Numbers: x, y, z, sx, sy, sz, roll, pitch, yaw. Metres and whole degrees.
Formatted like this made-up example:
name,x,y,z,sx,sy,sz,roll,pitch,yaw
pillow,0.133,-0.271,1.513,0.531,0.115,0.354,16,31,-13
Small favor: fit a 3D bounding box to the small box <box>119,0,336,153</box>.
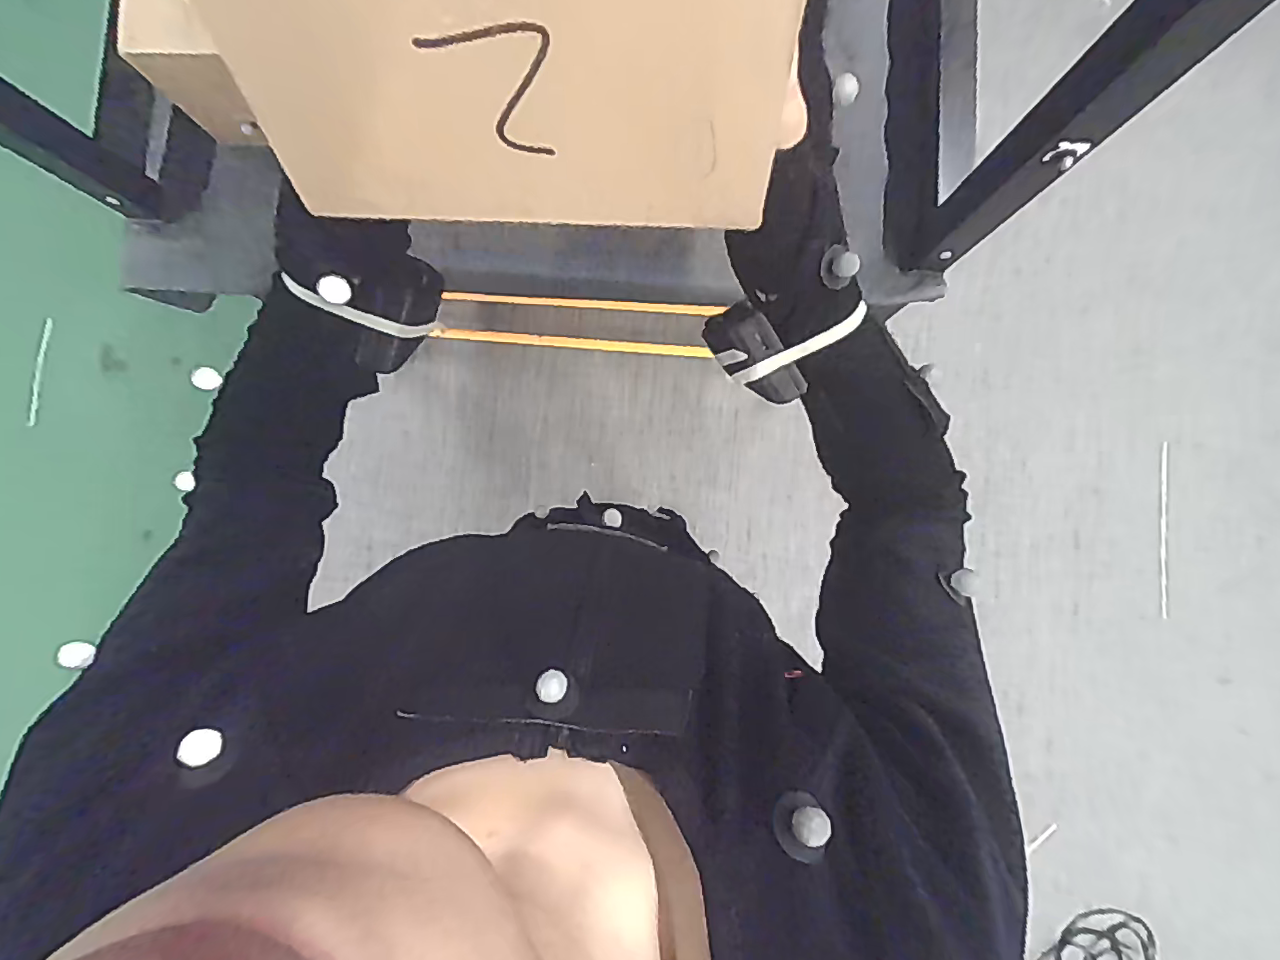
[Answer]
name,x,y,z,sx,sy,sz,roll,pitch,yaw
small box,-0.542,-0.586,0.737,0.168,0.176,0.179,2,86,1
